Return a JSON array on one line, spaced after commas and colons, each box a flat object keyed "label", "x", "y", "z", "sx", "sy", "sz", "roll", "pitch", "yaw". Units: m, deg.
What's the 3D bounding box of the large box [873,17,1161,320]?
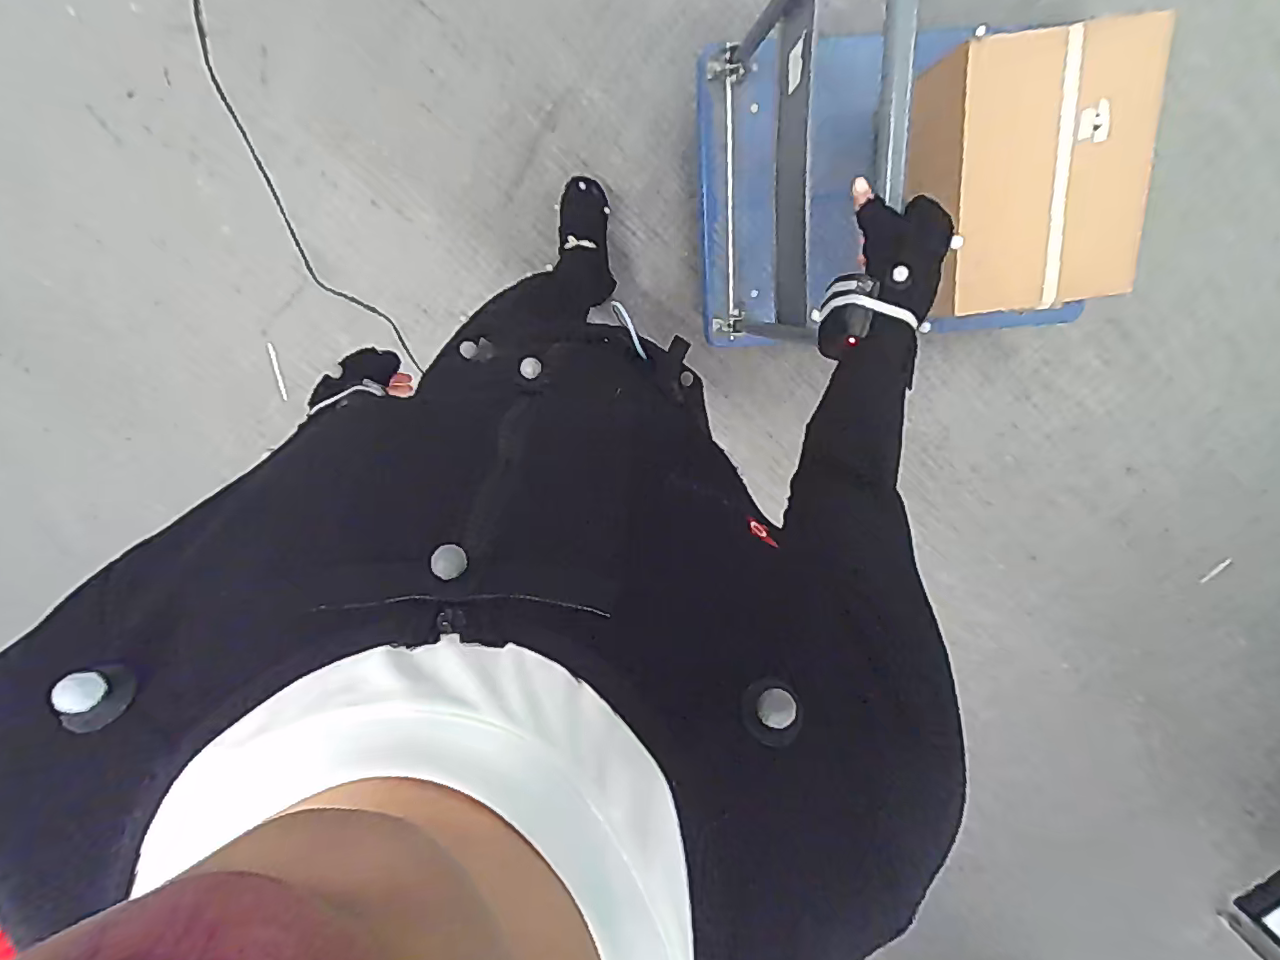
[{"label": "large box", "x": 0.653, "y": -0.530, "z": 1.011, "sx": 0.320, "sy": 0.320, "sz": 0.408, "roll": -8, "pitch": 108, "yaw": -1}]
